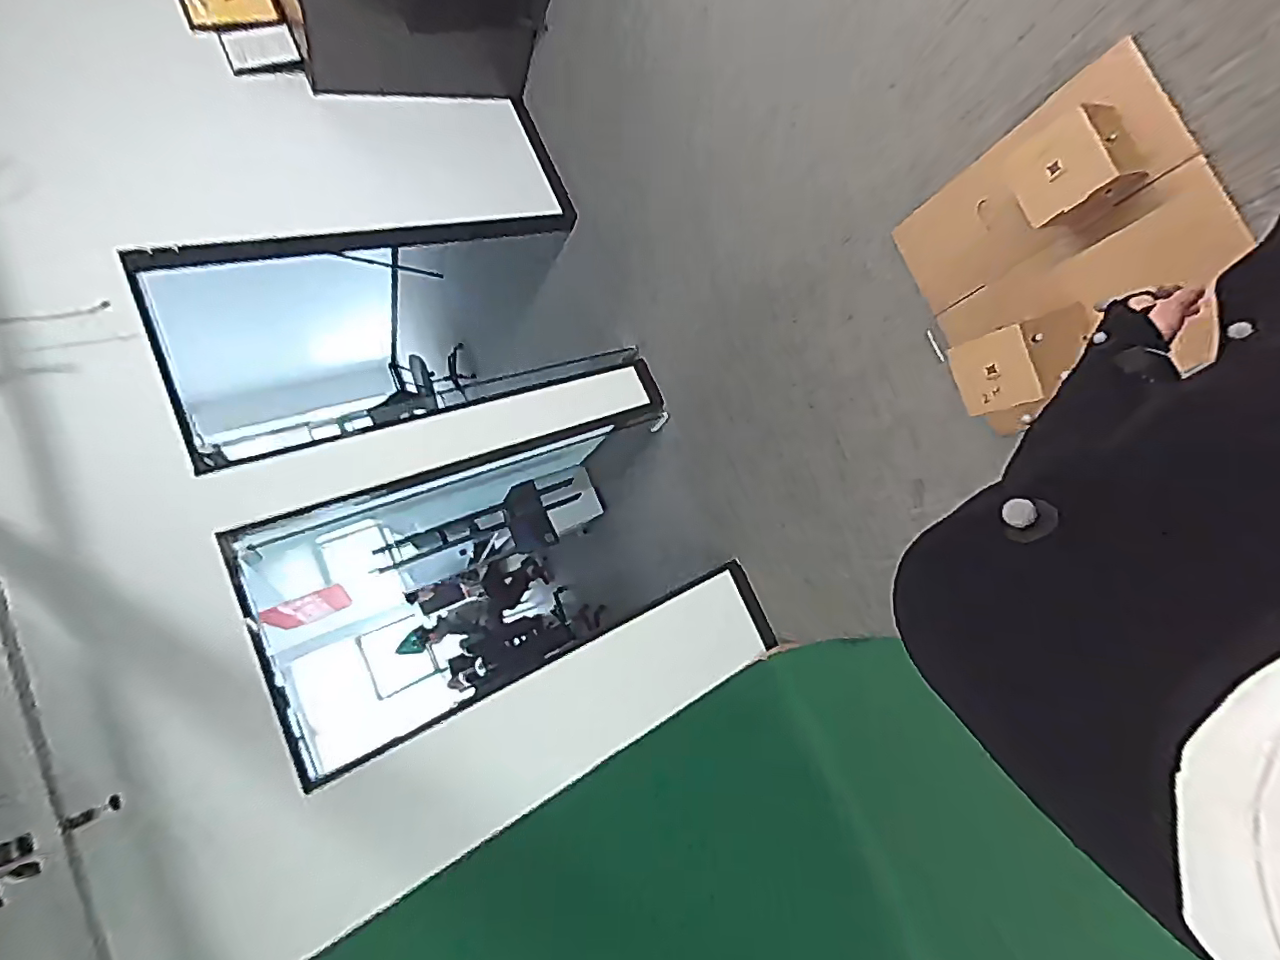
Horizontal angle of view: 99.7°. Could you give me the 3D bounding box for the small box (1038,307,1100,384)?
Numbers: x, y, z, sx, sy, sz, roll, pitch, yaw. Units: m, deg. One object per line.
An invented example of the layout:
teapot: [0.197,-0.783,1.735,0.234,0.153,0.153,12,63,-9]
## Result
small box: [0.997,-0.316,1.346,0.168,0.176,0.179,-18,92,61]

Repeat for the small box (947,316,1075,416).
small box: [0.863,-0.269,1.259,0.168,0.176,0.179,-19,92,61]

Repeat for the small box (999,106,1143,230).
small box: [0.950,-0.688,1.191,0.168,0.176,0.179,-33,80,60]
